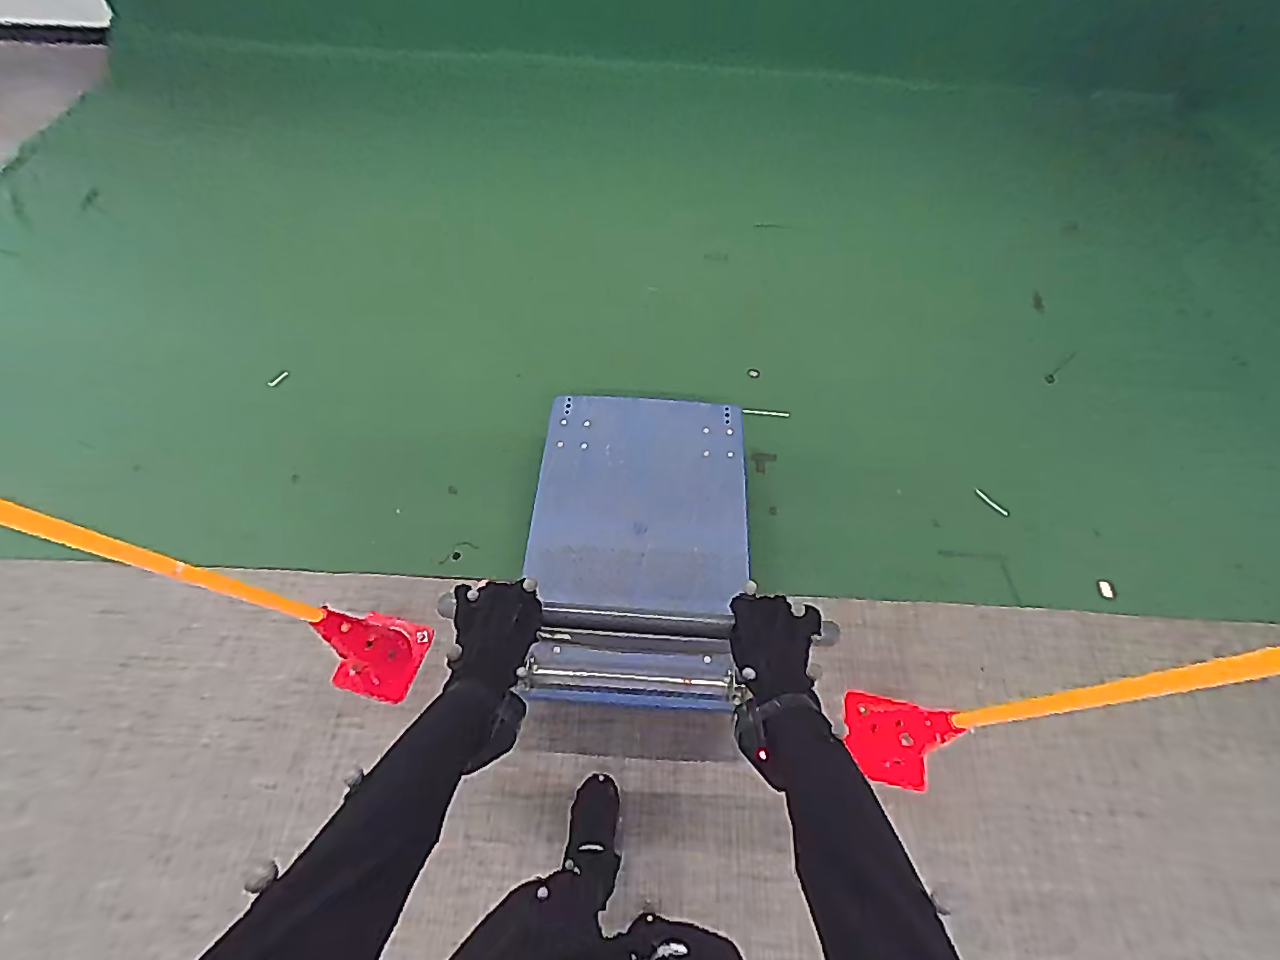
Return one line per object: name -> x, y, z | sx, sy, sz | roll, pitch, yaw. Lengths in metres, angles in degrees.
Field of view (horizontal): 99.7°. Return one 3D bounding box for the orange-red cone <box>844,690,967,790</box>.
orange-red cone -> 0.609, 0.551, 1.186 | 0.198, 0.360, 0.199 | 12, 61, 7
